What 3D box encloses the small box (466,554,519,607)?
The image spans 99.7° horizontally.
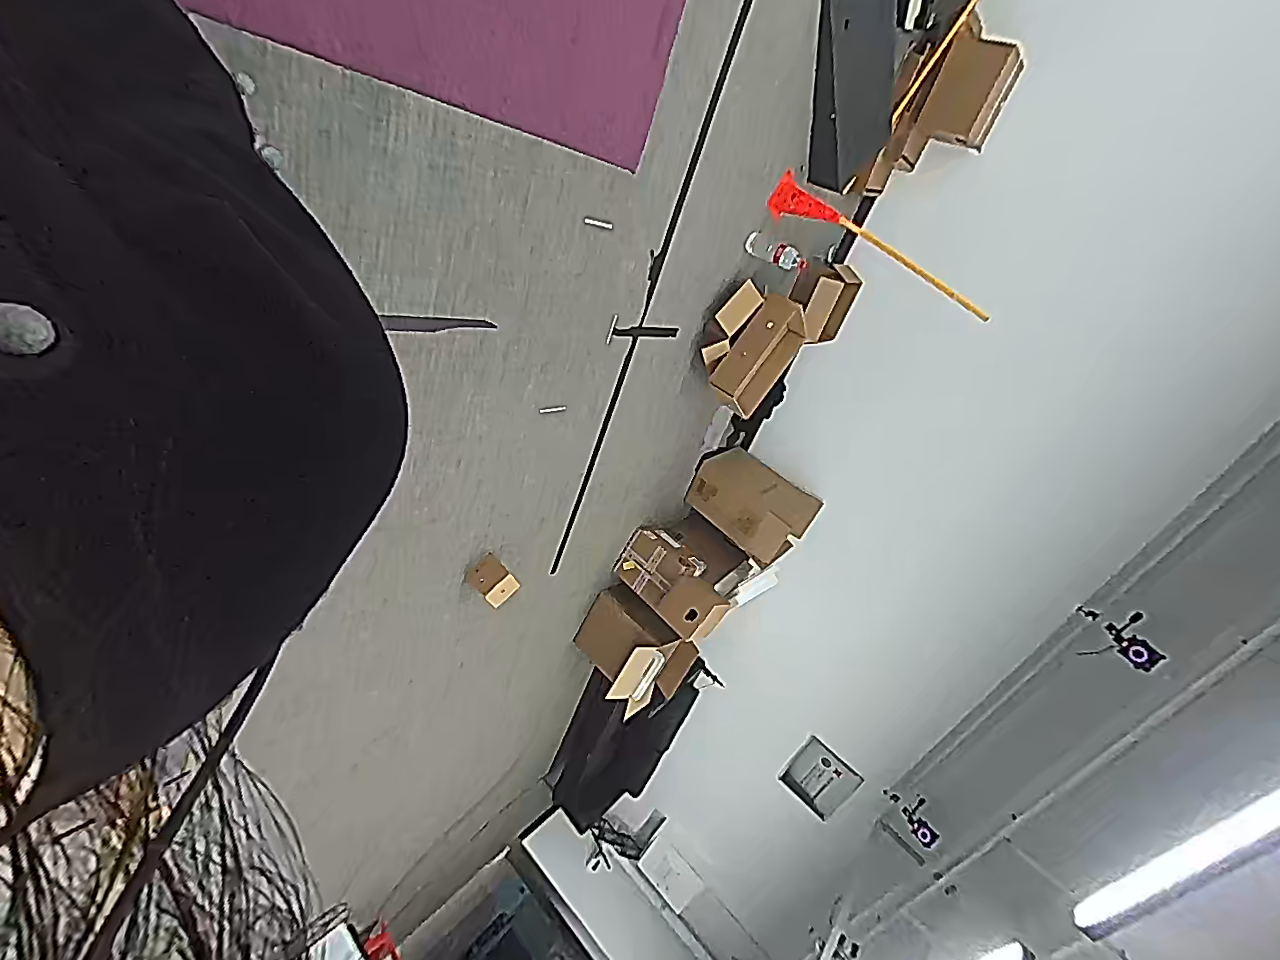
[{"bbox_3d":[-0.745,0.500,2.717,0.168,0.176,0.179,-43,154,-17],"label":"small box"}]
